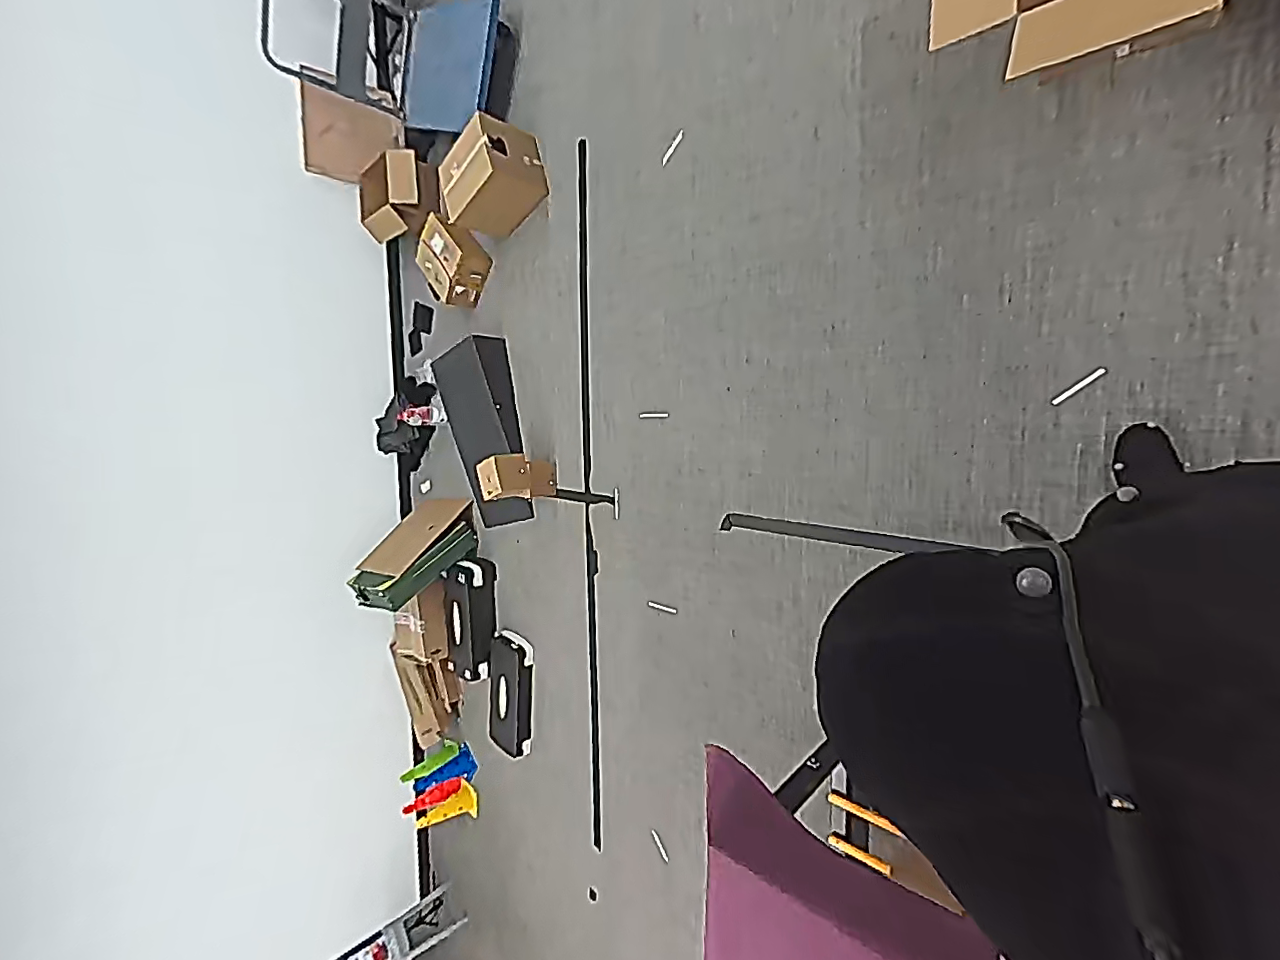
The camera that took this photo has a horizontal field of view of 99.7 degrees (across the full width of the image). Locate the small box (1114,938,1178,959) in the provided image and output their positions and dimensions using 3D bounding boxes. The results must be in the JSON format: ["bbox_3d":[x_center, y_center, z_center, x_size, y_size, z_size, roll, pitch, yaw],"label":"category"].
[{"bbox_3d":[1.090,1.111,1.117,0.179,0.176,0.168,3,97,44],"label":"small box"}]

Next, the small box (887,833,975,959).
[{"bbox_3d":[0.767,1.084,1.422,0.168,0.176,0.179,7,100,43],"label":"small box"}]
